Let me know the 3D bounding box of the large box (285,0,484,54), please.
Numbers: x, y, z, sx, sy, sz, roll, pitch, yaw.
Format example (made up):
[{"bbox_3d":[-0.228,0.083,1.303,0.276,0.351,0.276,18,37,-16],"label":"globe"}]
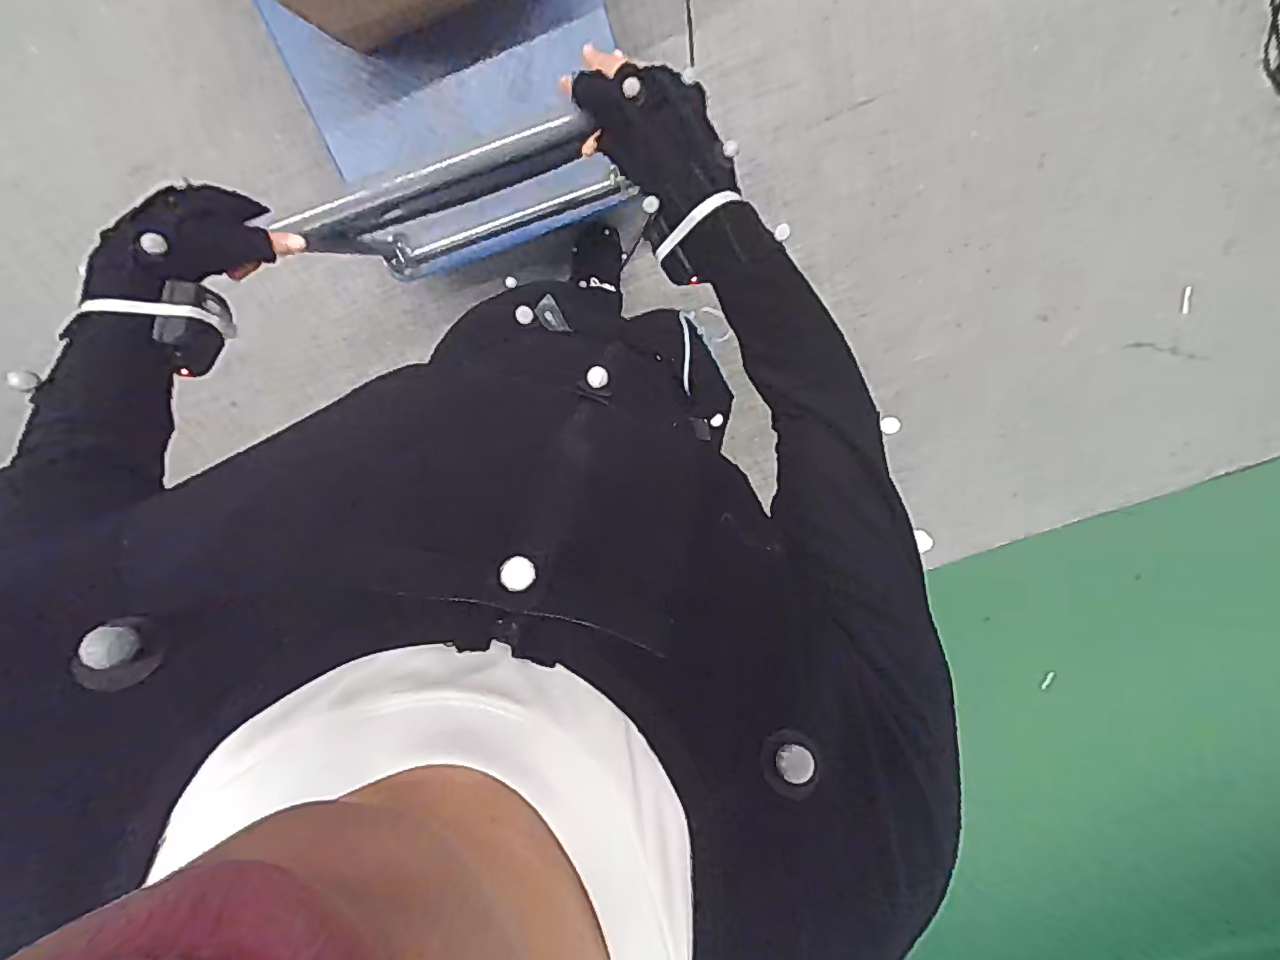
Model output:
[{"bbox_3d":[-0.343,-0.889,0.755,0.408,0.320,0.320,-19,115,7],"label":"large box"}]
